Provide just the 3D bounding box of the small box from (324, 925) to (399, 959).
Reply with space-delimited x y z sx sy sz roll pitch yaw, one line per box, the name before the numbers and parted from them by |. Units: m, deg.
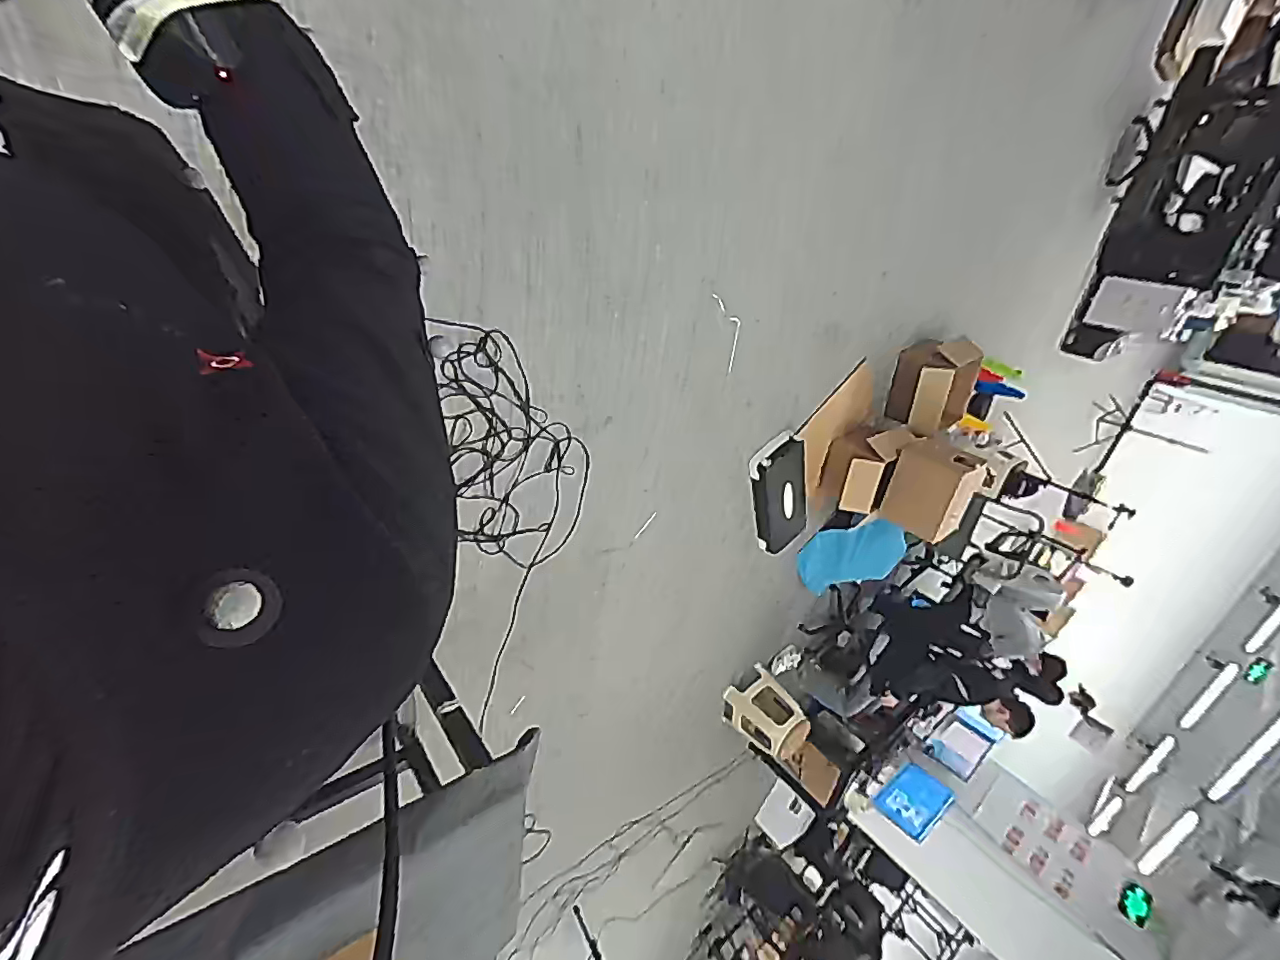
small box | -0.514 0.958 0.960 0.179 0.176 0.168 -10 122 -39
